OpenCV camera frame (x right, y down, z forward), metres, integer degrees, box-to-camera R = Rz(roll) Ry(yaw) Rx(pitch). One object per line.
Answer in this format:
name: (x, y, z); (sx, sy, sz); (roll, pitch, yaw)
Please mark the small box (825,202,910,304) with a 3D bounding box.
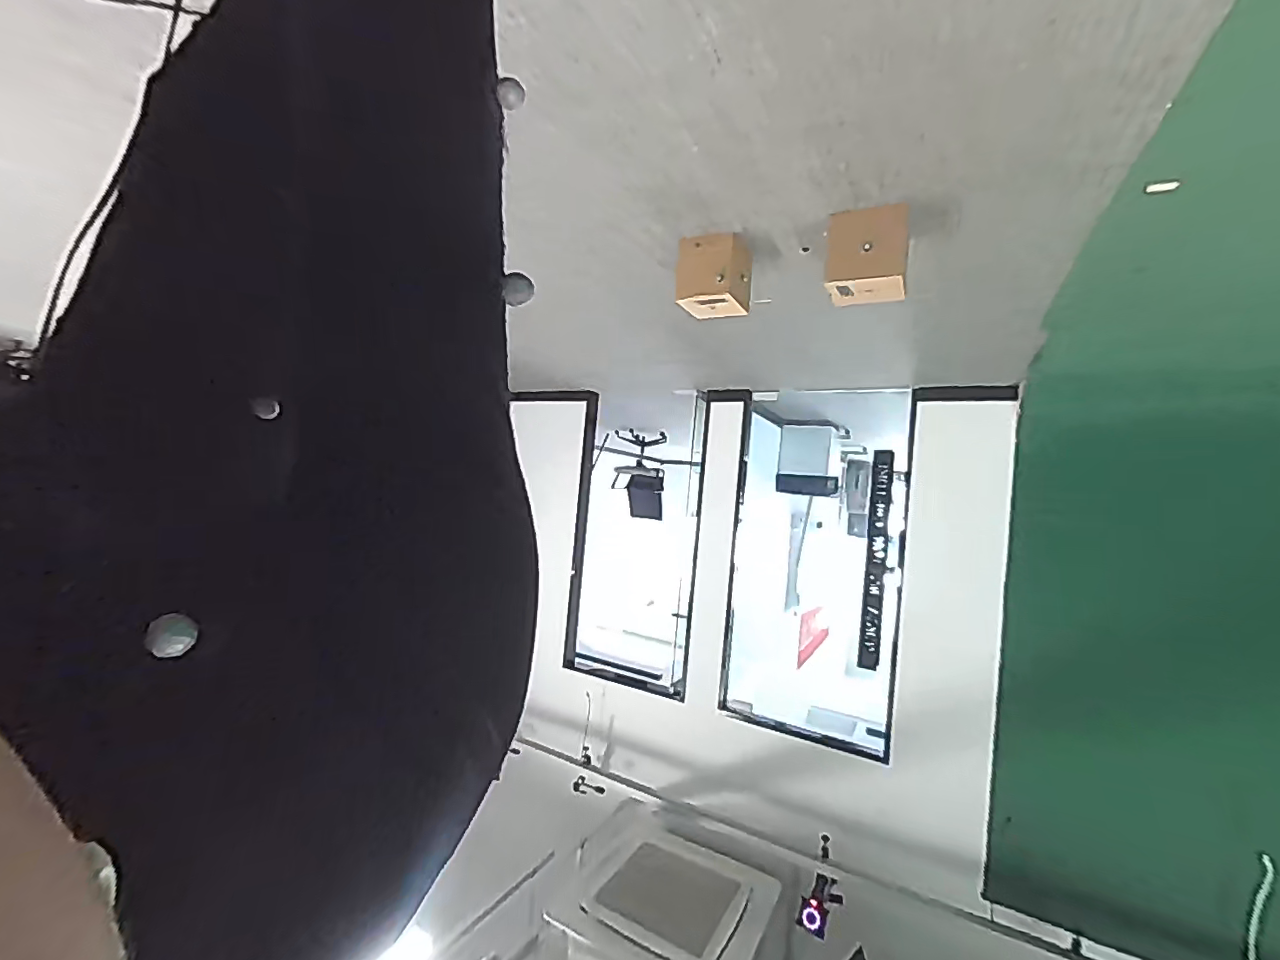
small box: (0.563, -0.553, 1.331); (0.179, 0.176, 0.168); (3, 179, 28)
